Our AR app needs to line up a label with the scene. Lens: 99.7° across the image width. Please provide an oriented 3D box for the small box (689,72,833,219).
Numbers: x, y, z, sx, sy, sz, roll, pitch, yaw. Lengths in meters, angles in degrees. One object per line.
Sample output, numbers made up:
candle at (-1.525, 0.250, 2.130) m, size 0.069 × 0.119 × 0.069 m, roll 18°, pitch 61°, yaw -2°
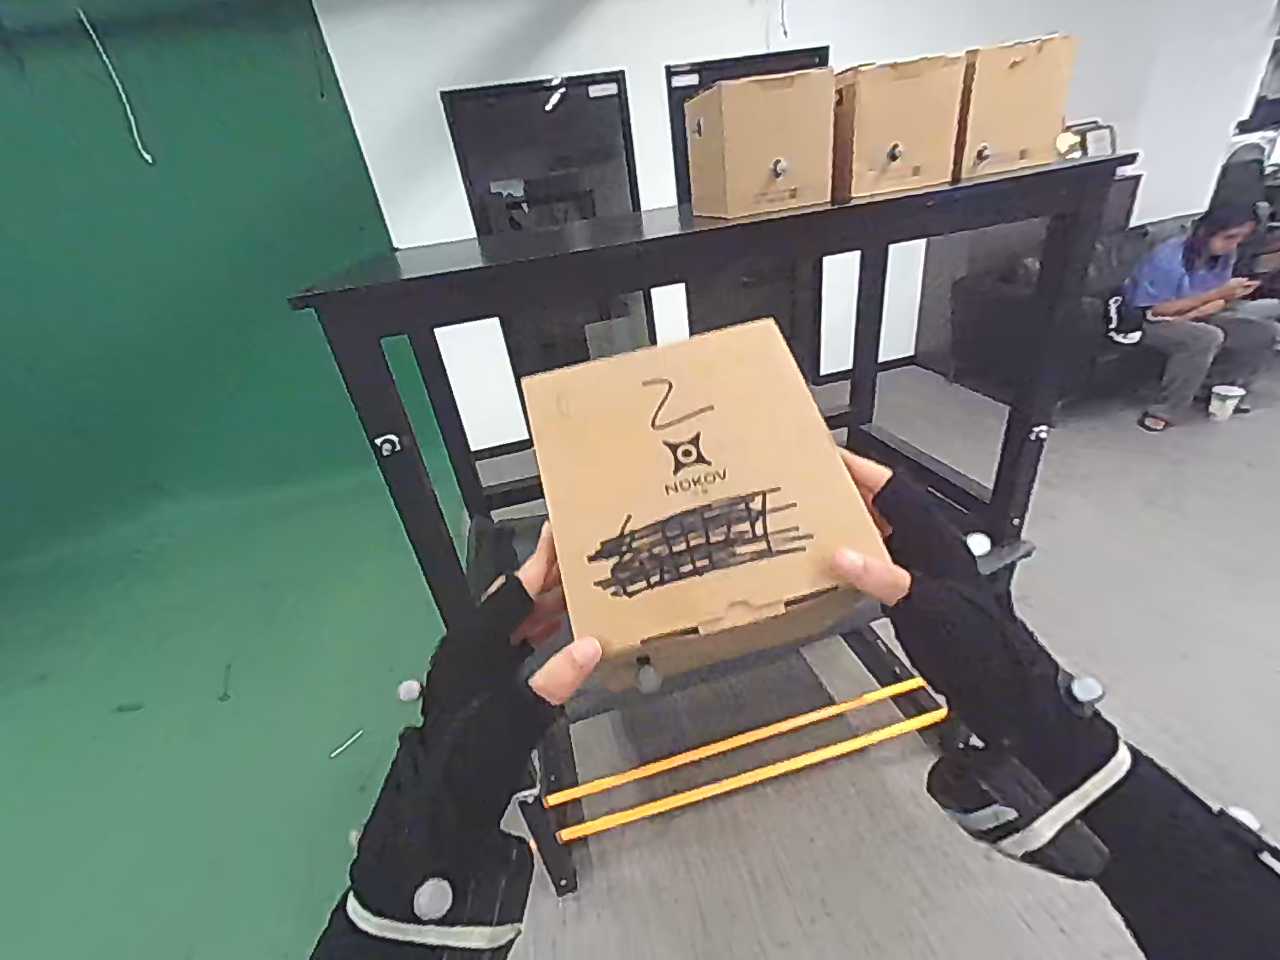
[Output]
small box at (0.180, -0.508, 0.842) m, size 0.168 × 0.176 × 0.179 m, roll -12°, pitch 29°, yaw -6°

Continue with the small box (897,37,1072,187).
small box at (0.550, -0.591, 0.890) m, size 0.168 × 0.176 × 0.179 m, roll -12°, pitch 28°, yaw -5°
